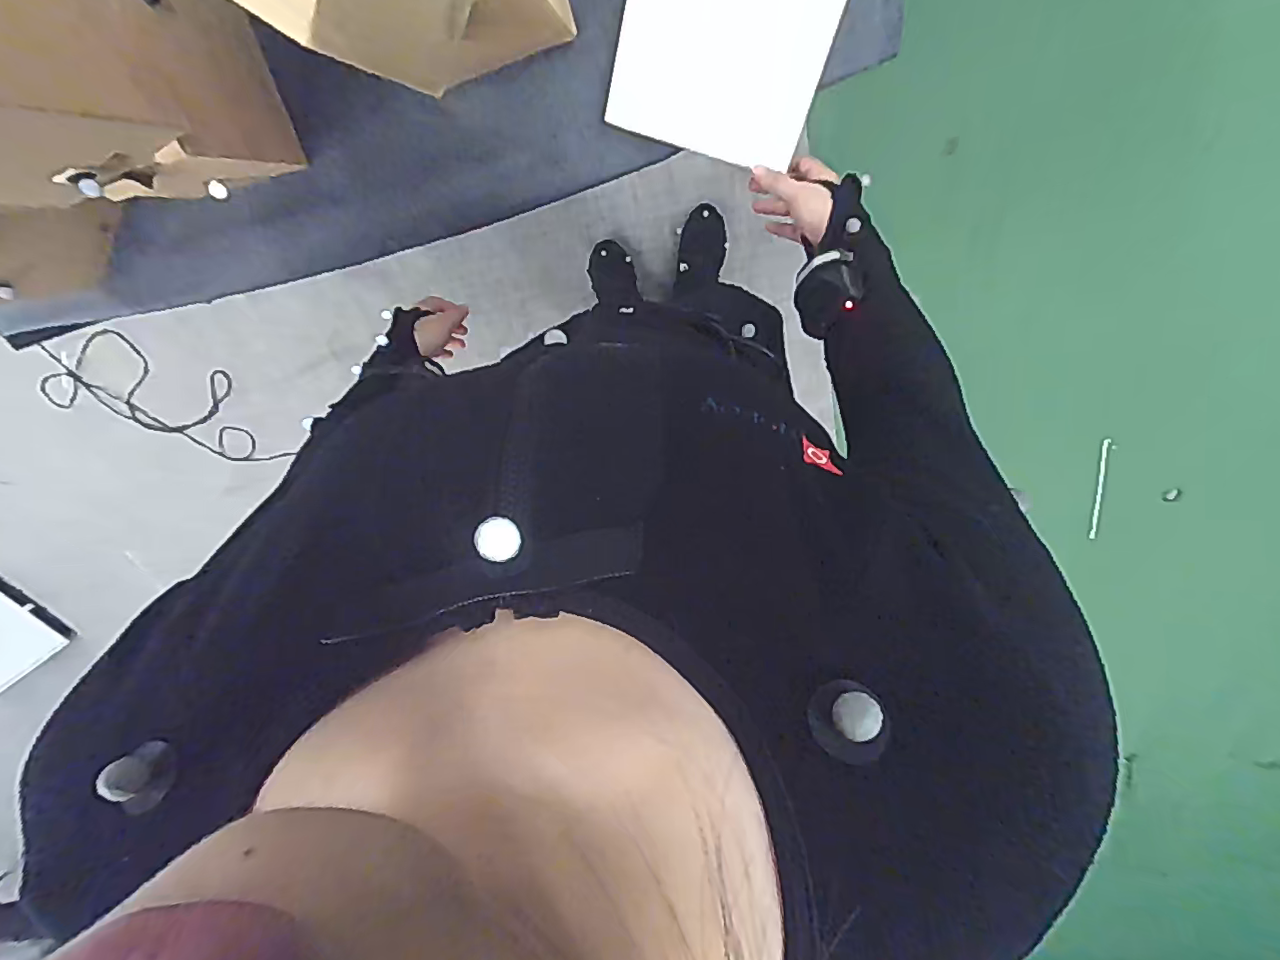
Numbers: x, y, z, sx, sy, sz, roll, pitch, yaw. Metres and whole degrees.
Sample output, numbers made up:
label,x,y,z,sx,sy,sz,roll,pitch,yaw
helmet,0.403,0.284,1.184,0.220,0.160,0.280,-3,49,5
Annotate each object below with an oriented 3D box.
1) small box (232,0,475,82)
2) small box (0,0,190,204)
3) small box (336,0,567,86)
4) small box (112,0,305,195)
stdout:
label,x,y,z,sx,sy,sz,roll,pitch,yaw
small box,-0.202,-0.375,0.317,0.179,0.176,0.168,31,118,-8
small box,-0.502,-0.317,0.391,0.168,0.176,0.179,-17,114,17
small box,-0.173,-0.463,0.454,0.179,0.176,0.168,-10,116,14
small box,-0.486,-0.394,0.533,0.168,0.176,0.179,-7,116,12
